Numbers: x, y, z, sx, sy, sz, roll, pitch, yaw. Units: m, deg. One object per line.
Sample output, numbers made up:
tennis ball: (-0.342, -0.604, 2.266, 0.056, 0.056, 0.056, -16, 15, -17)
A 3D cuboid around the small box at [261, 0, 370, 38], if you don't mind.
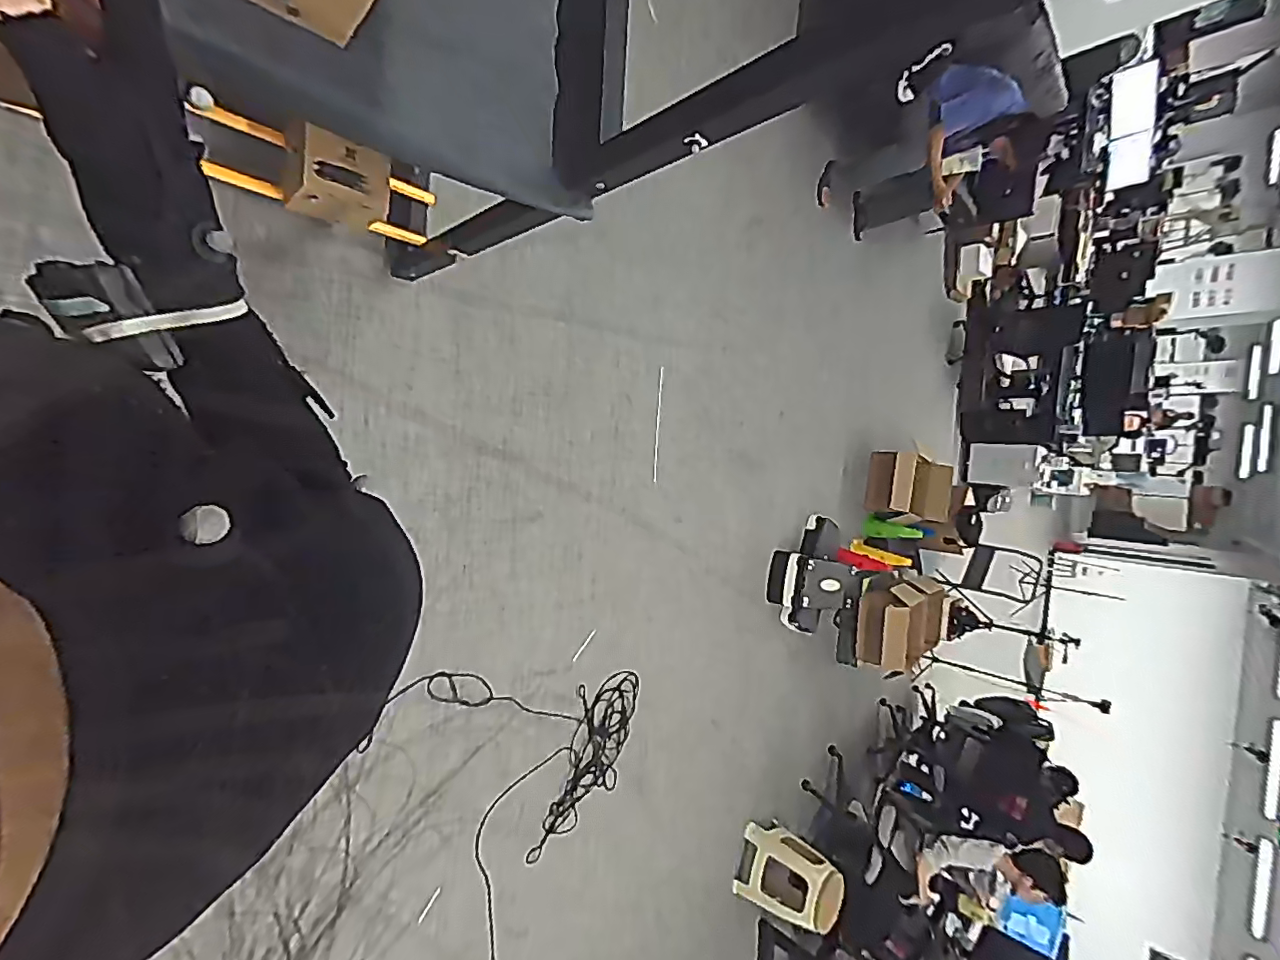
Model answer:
small box: (-0.373, -0.637, 0.571, 0.168, 0.176, 0.179, -2, 94, -45)
